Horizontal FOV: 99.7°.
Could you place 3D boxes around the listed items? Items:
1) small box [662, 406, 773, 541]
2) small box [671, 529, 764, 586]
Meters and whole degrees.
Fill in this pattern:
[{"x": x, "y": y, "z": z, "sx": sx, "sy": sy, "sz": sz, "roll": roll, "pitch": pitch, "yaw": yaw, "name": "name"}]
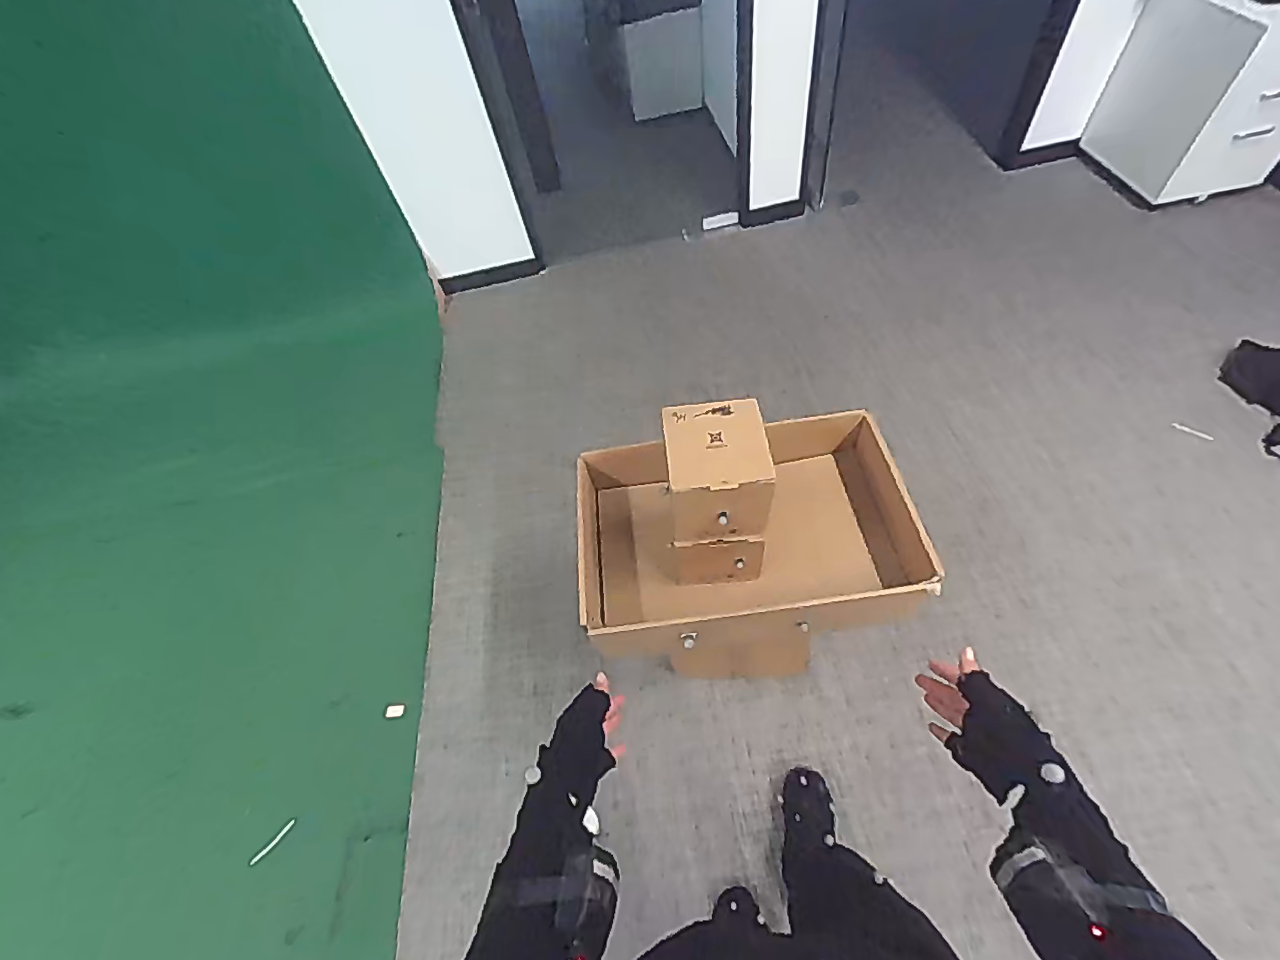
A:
[{"x": 0.130, "y": -0.004, "z": 0.948, "sx": 0.168, "sy": 0.176, "sz": 0.179, "roll": -5, "pitch": 55, "yaw": 2, "name": "small box"}, {"x": 0.146, "y": 0.099, "z": 1.074, "sx": 0.168, "sy": 0.176, "sz": 0.179, "roll": -5, "pitch": 52, "yaw": 2, "name": "small box"}]
